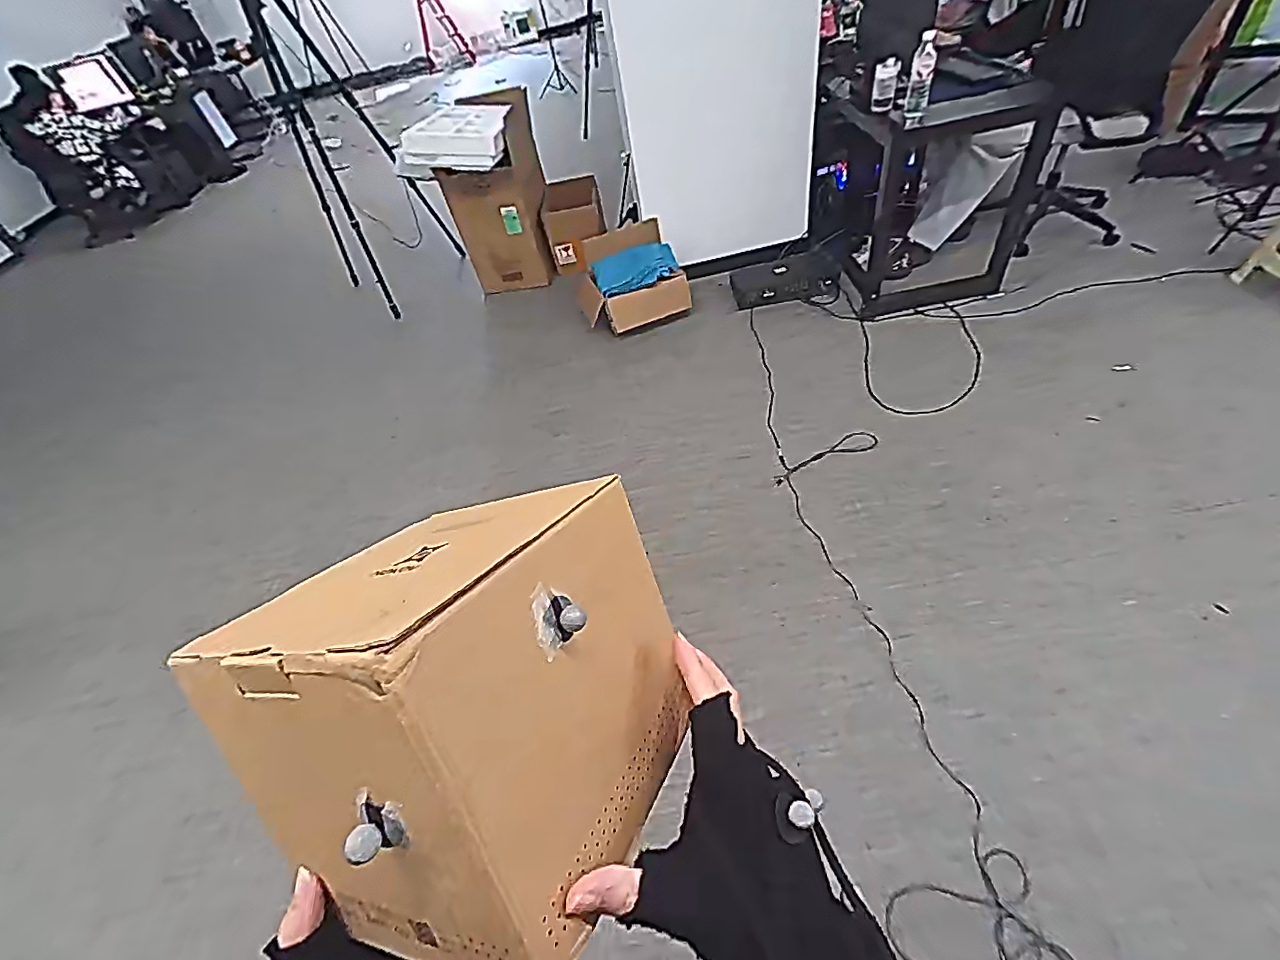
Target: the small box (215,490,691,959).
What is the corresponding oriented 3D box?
[{"bbox_3d":[-0.087,0.125,0.320,0.168,0.176,0.179,-12,14,31],"label":"small box"}]
